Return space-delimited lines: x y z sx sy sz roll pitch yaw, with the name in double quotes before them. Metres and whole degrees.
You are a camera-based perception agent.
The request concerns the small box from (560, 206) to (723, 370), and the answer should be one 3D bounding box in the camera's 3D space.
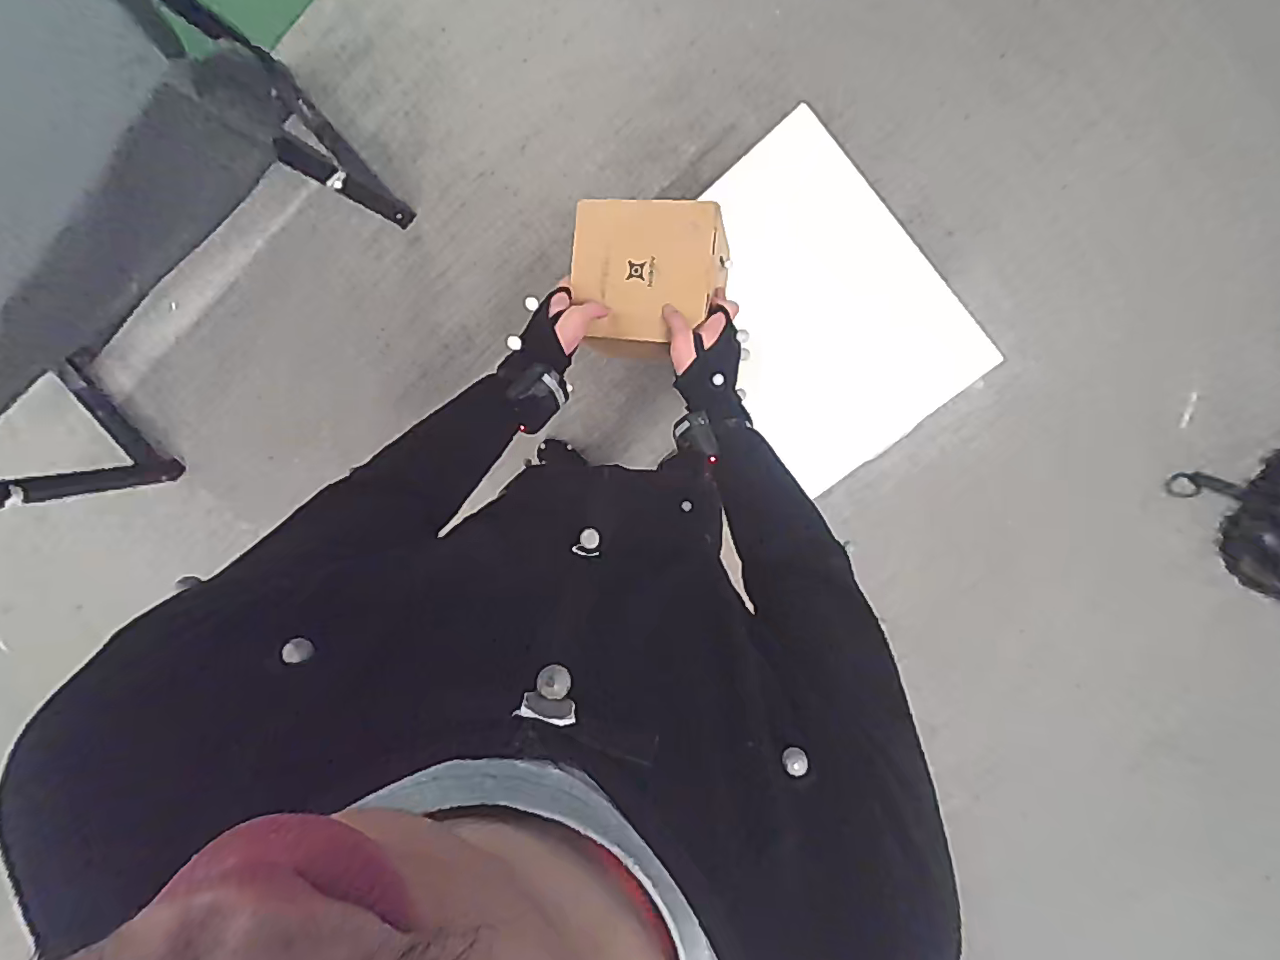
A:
"small box" 0.011 -0.243 0.717 0.179 0.176 0.168 6 93 15
